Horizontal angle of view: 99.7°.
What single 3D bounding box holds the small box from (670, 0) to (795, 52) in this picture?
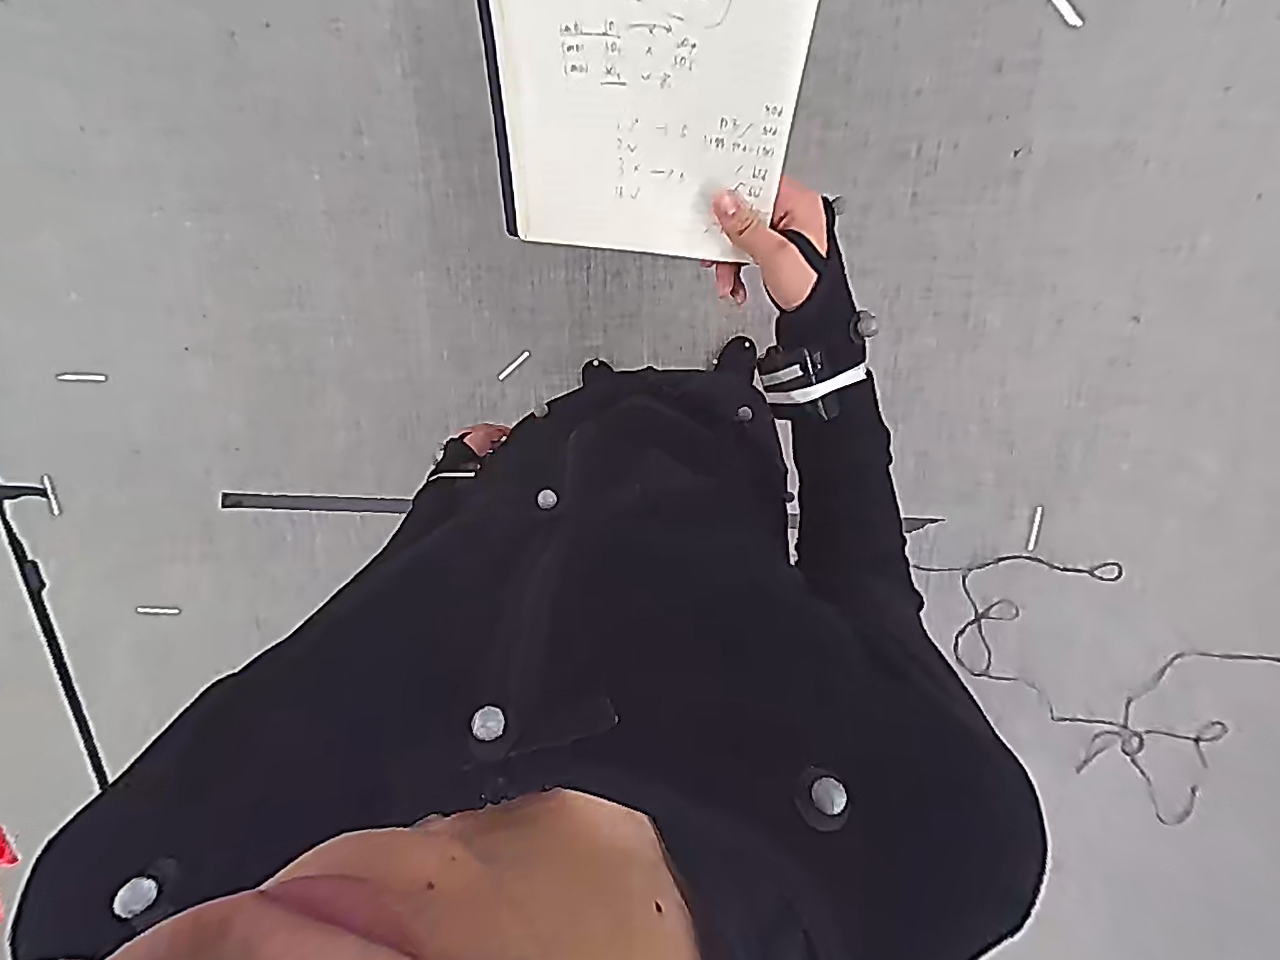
[{"bbox_3d":[0.123,-0.727,0.728,0.179,0.176,0.168,-10,105,7],"label":"small box"}]
